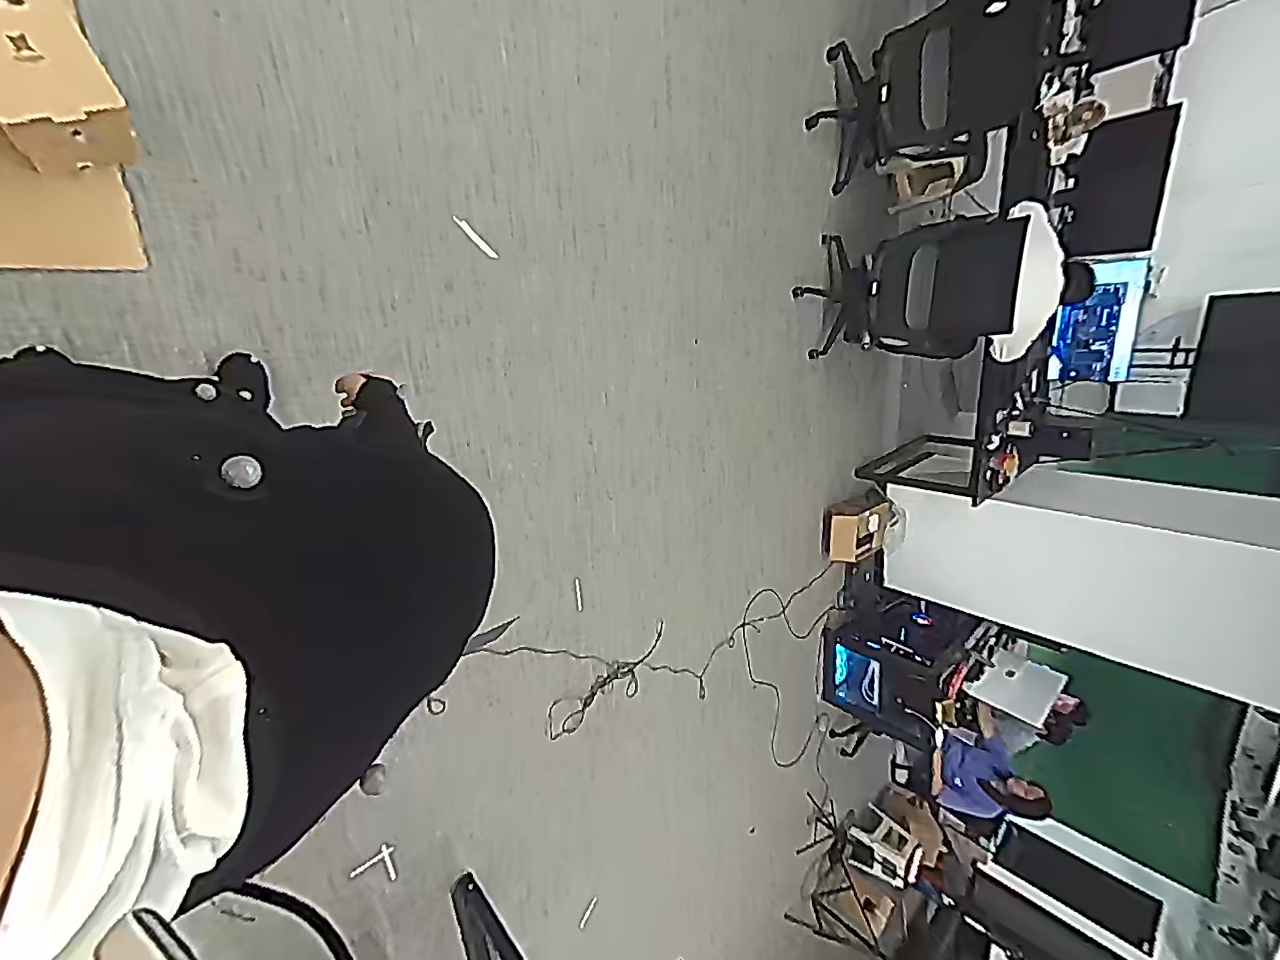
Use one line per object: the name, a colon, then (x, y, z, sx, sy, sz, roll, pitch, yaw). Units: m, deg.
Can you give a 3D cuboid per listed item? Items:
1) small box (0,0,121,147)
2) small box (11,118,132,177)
small box: (-0.993, -0.663, 0.877, 0.168, 0.176, 0.179, -36, 123, -30)
small box: (-1.096, -0.692, 1.000, 0.168, 0.176, 0.179, -38, 122, -29)
